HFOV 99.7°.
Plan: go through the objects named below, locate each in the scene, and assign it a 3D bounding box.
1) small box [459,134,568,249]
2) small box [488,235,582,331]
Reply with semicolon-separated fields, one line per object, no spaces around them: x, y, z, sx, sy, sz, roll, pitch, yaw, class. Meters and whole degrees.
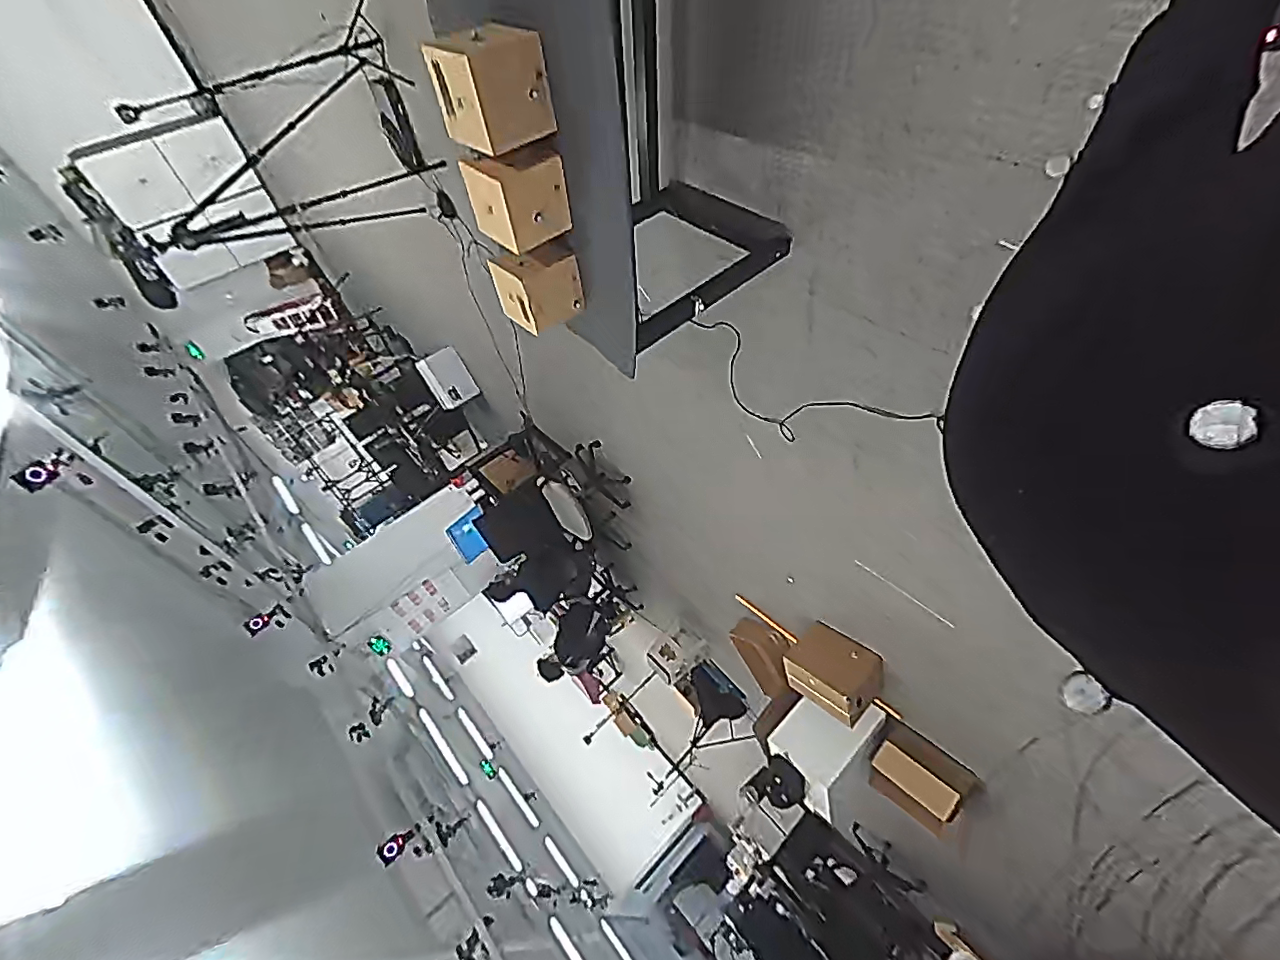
-0.282;-0.677;1.259;0.179;0.176;0.168;40;155;29;small box
-0.271;-0.536;1.449;0.179;0.176;0.168;38;154;32;small box
